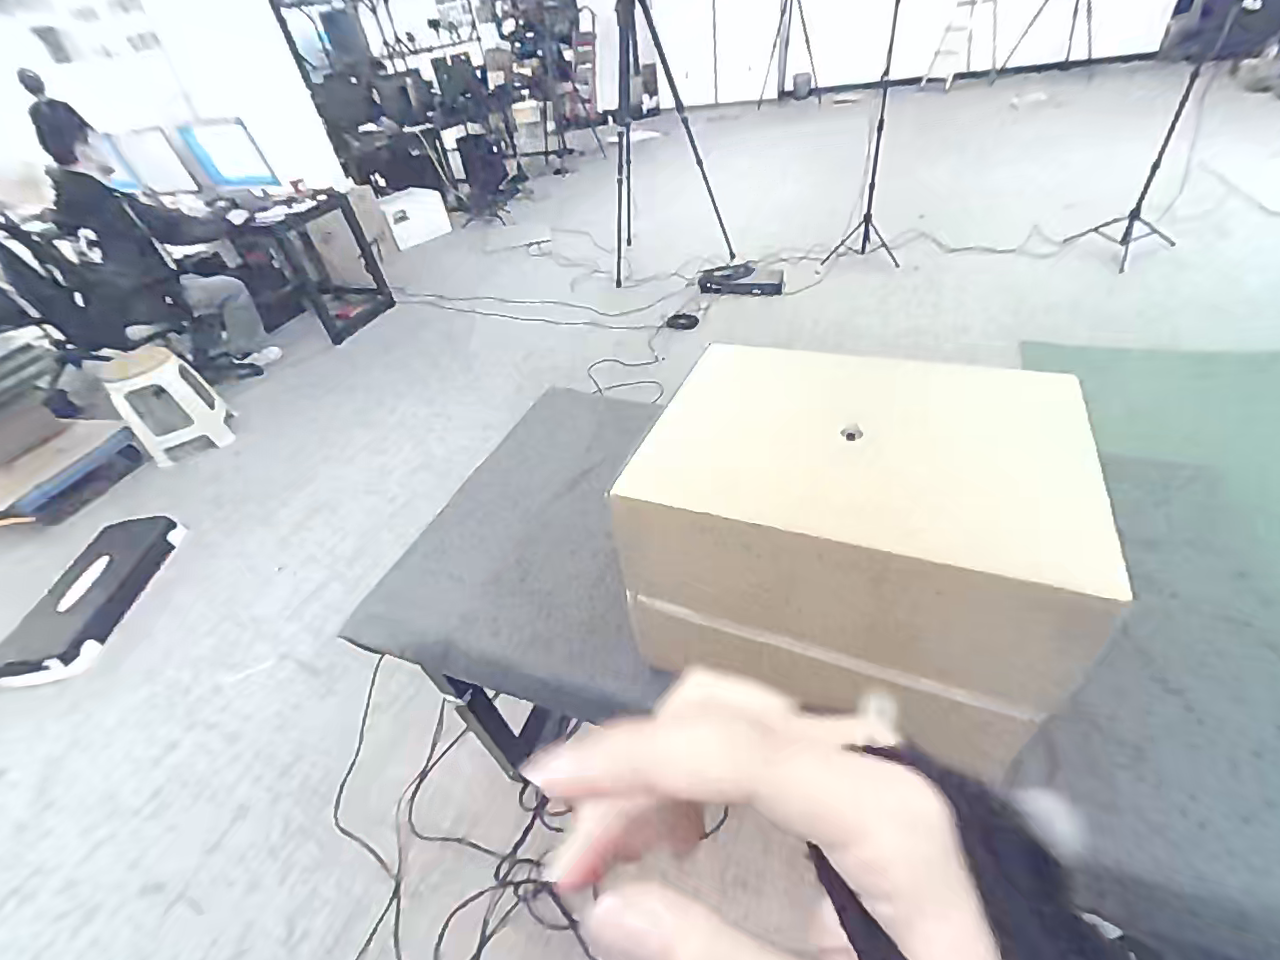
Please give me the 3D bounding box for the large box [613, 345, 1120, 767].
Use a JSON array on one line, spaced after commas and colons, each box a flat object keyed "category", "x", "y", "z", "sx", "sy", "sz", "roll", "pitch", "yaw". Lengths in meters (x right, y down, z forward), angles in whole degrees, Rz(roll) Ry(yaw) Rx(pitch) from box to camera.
[{"category": "large box", "x": 0.228, "y": 0.068, "z": 0.639, "sx": 0.408, "sy": 0.320, "sz": 0.320, "roll": 11, "pitch": 44, "yaw": 21}]
